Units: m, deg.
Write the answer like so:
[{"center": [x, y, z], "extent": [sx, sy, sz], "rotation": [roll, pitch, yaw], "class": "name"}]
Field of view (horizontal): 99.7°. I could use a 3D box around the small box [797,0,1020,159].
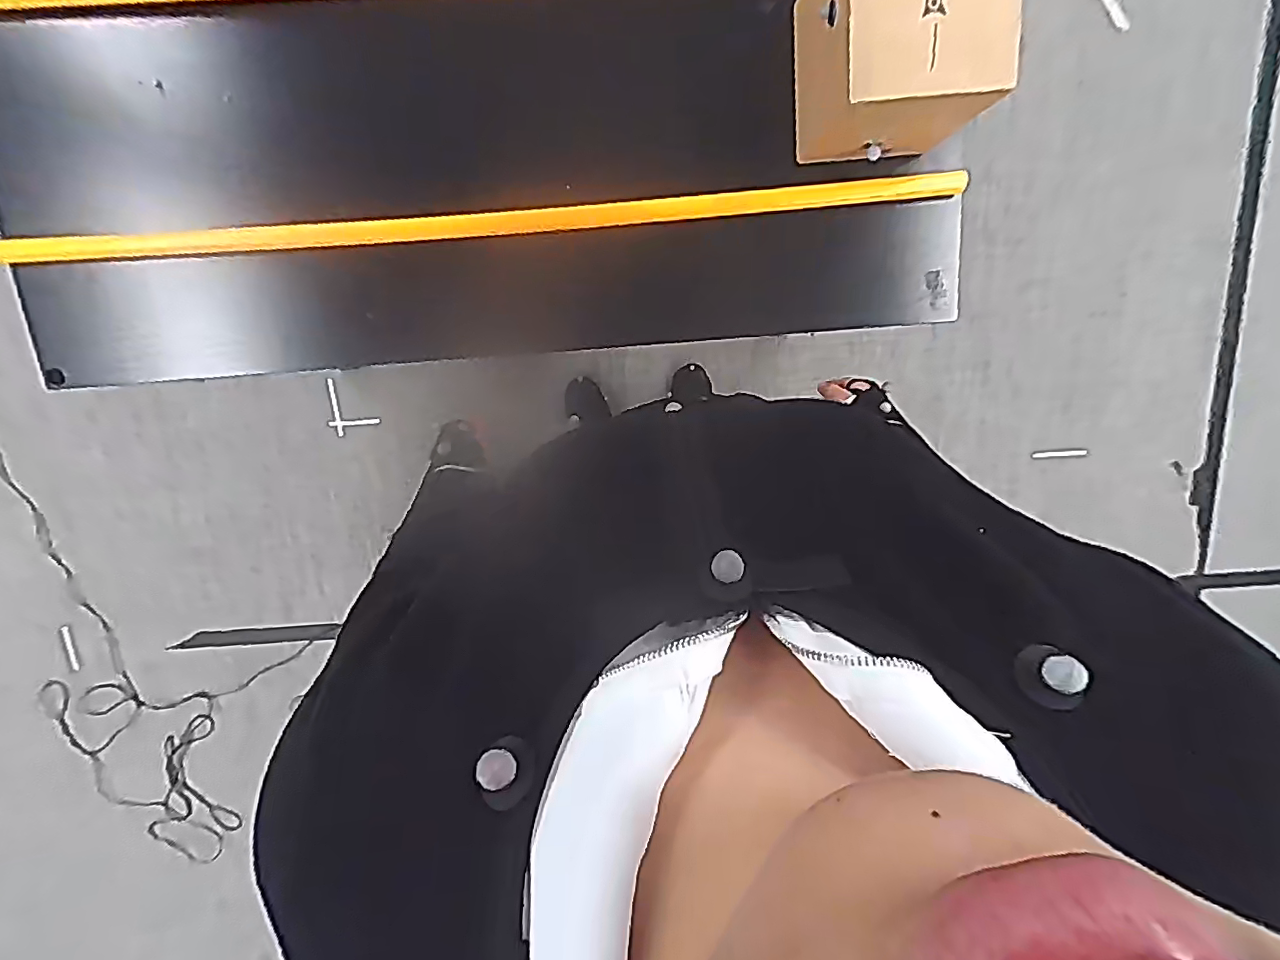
[{"center": [0.275, -0.479, 0.587], "extent": [0.168, 0.176, 0.179], "rotation": [-5, 102, 0], "class": "small box"}]
